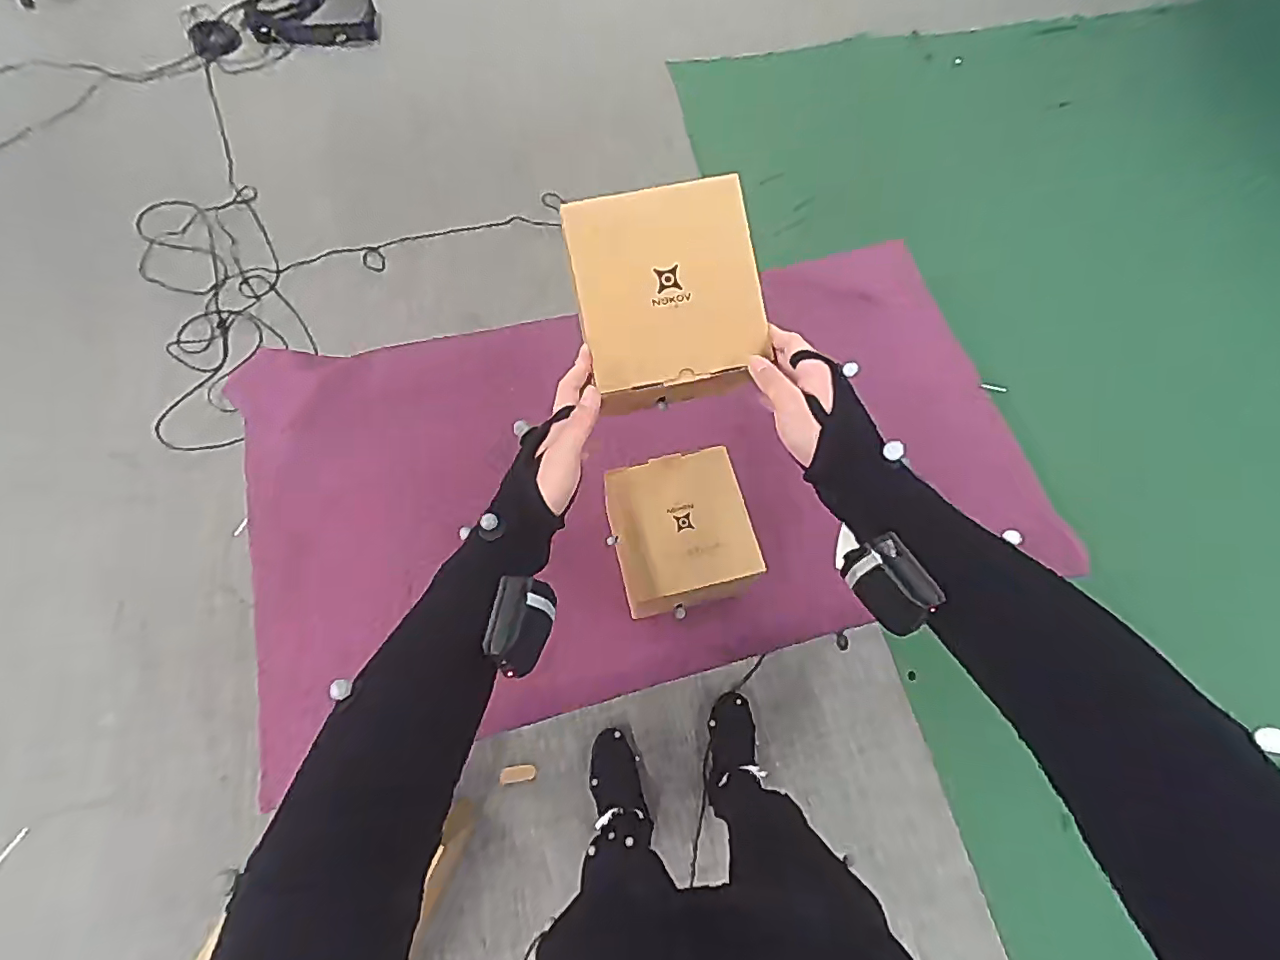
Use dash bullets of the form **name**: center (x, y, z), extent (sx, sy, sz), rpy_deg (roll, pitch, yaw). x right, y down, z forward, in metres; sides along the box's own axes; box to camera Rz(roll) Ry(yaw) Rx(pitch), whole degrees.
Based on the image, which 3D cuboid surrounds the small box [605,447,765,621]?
- **small box**: center (0.049, 0.080, 0.735), extent (0.168, 0.176, 0.179), rpy_deg (-12, 70, -5)

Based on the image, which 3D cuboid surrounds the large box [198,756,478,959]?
- **large box**: center (-0.602, 0.861, 1.128), extent (0.320, 0.320, 0.408), rpy_deg (24, 70, 6)

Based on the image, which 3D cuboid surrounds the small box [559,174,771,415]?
- **small box**: center (0.017, -0.175, 0.559), extent (0.168, 0.176, 0.179), rpy_deg (-12, 92, -3)
